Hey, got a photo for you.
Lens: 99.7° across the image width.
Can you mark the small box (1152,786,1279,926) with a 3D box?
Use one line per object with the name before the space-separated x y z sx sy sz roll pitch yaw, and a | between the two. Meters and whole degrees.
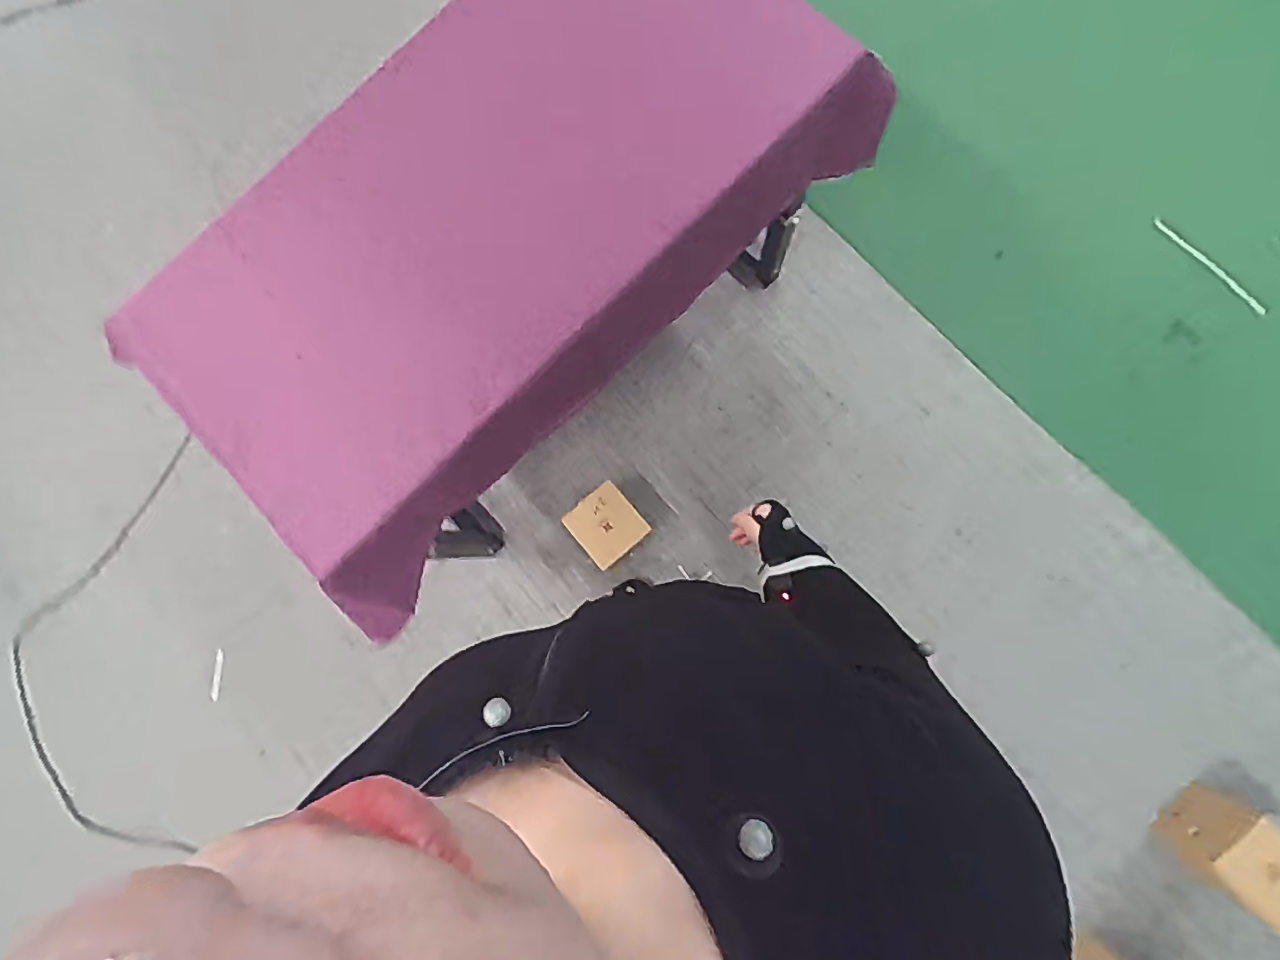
small box | 1.350 0.837 1.233 0.168 0.176 0.179 -43 82 -1
